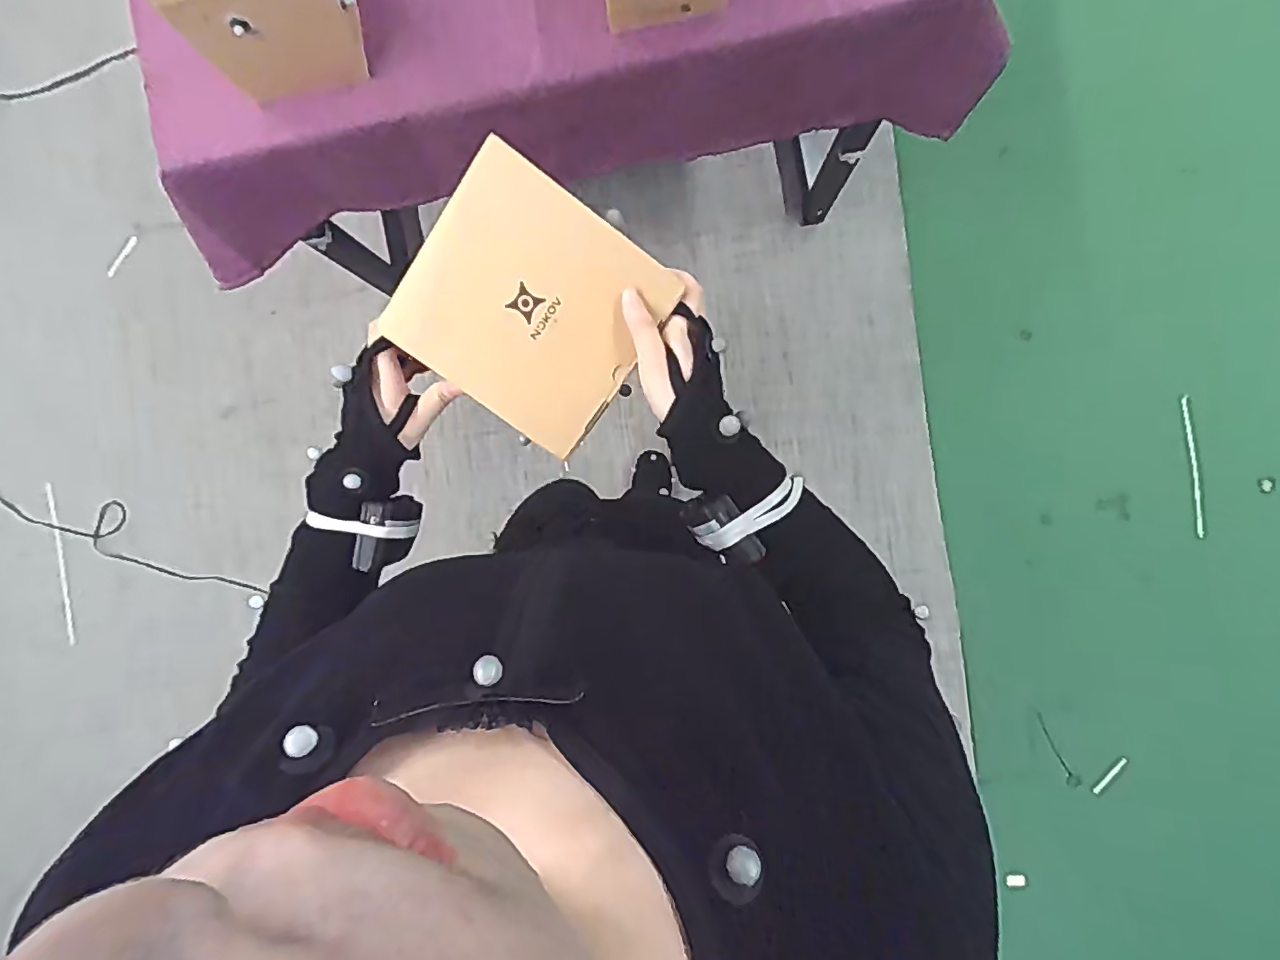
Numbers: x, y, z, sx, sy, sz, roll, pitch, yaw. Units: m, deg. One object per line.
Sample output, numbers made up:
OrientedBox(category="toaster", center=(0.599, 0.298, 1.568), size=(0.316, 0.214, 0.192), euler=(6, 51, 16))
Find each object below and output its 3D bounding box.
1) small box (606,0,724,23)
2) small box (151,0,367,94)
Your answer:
OrientedBox(category="small box", center=(0.024, -0.724, 0.679), size=(0.168, 0.176, 0.179), euler=(-8, 90, 3))
OrientedBox(category="small box", center=(-0.493, -0.648, 0.707), size=(0.179, 0.176, 0.168), euler=(-9, 90, 2))
